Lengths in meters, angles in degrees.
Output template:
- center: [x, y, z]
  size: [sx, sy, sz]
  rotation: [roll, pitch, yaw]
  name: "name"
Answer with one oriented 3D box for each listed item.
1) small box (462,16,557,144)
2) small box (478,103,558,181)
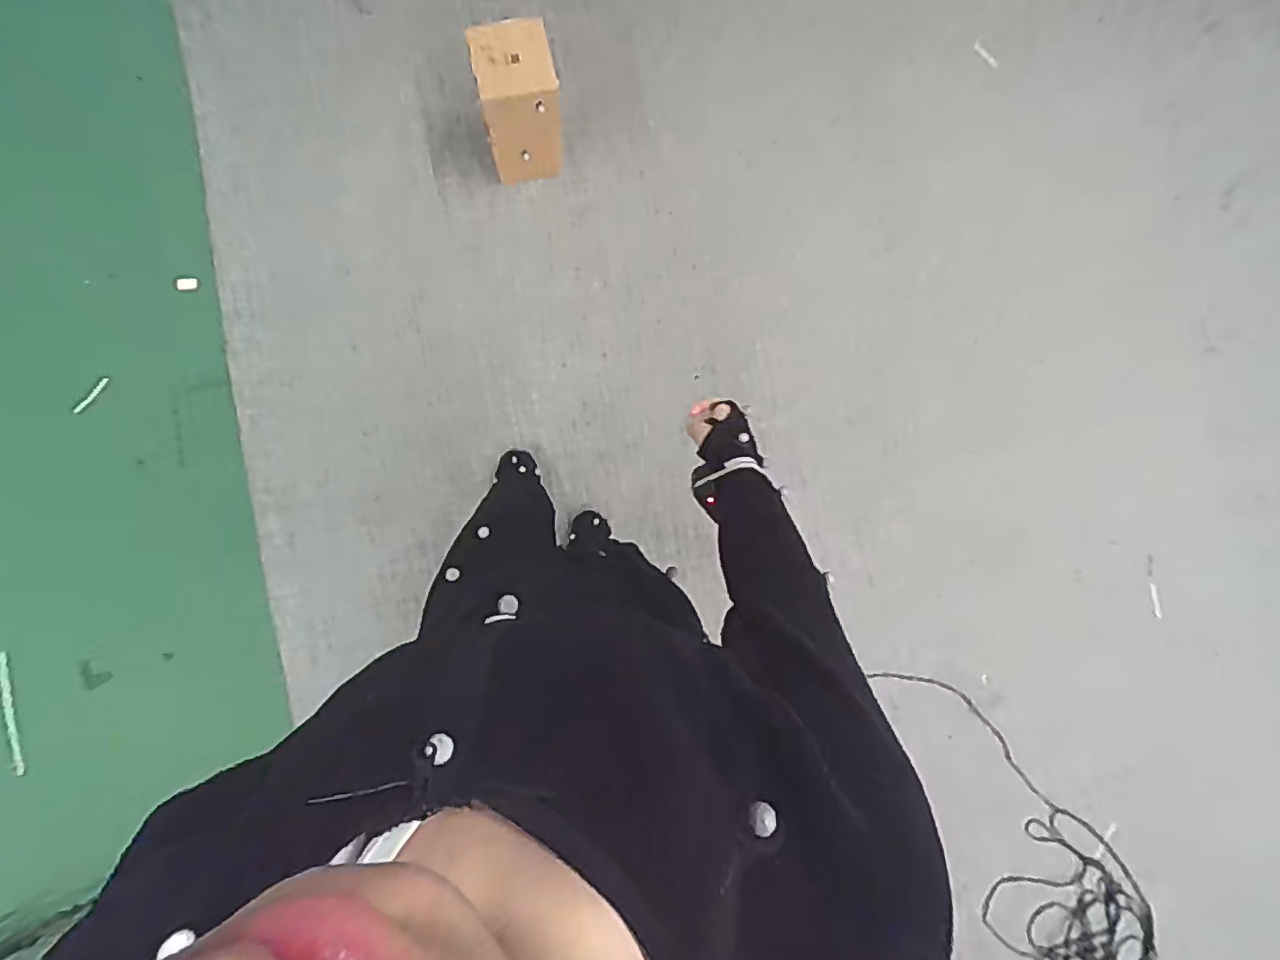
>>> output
- center: [-0.294, -0.922, 1.259]
  size: [0.179, 0.176, 0.168]
  rotation: [-13, 91, -5]
  name: "small box"
- center: [-0.317, -0.922, 1.423]
  size: [0.179, 0.176, 0.168]
  rotation: [-13, 91, -5]
  name: "small box"
